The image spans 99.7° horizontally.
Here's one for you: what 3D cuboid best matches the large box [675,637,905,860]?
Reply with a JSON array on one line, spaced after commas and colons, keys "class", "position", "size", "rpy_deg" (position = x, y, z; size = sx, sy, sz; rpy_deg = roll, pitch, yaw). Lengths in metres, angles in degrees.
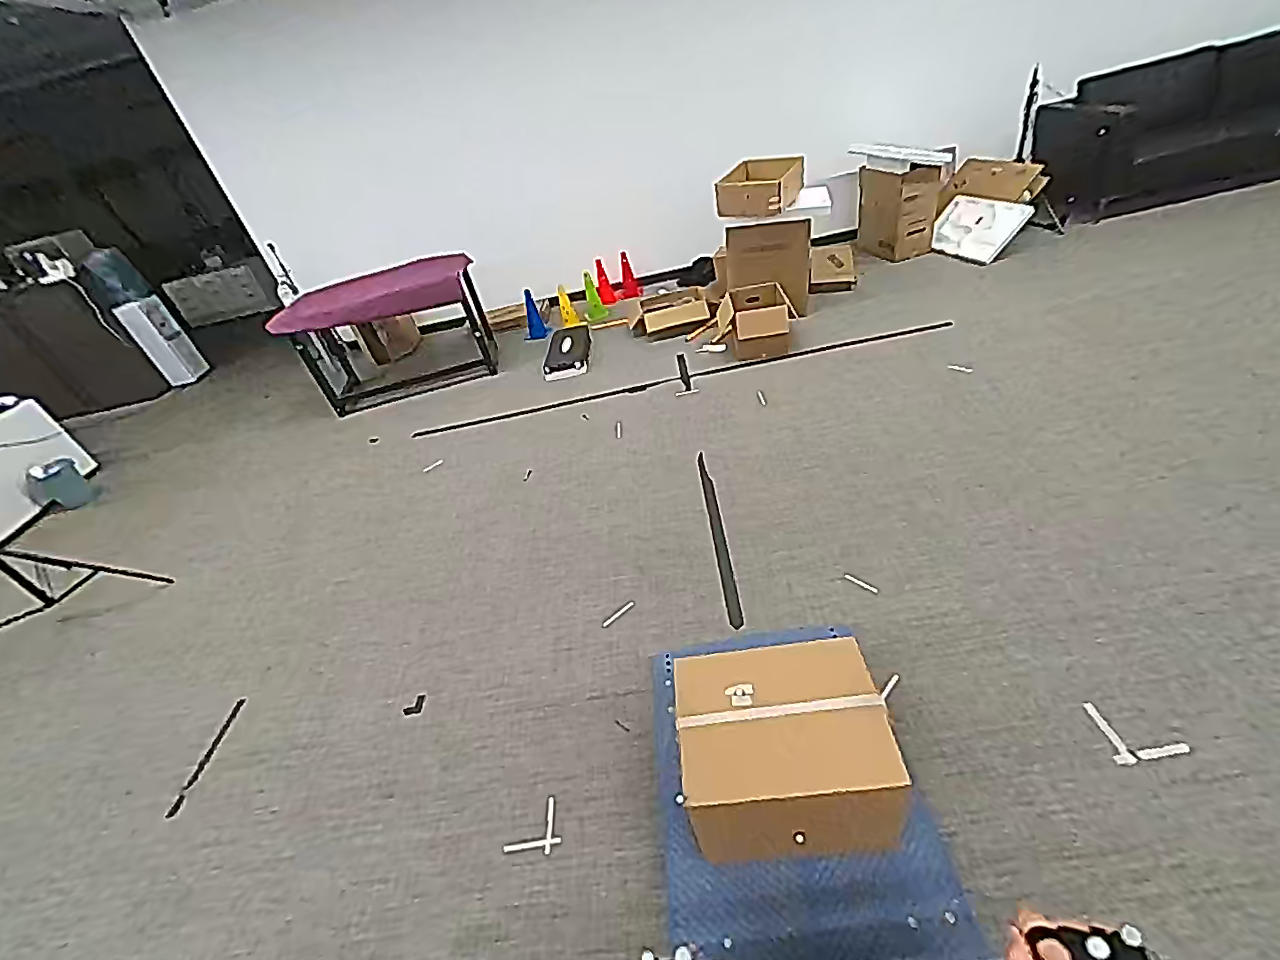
[{"class": "large box", "position": [0.309, 0.589, 1.186], "size": [0.408, 0.320, 0.320], "rpy_deg": [-10, 36, 7]}]
